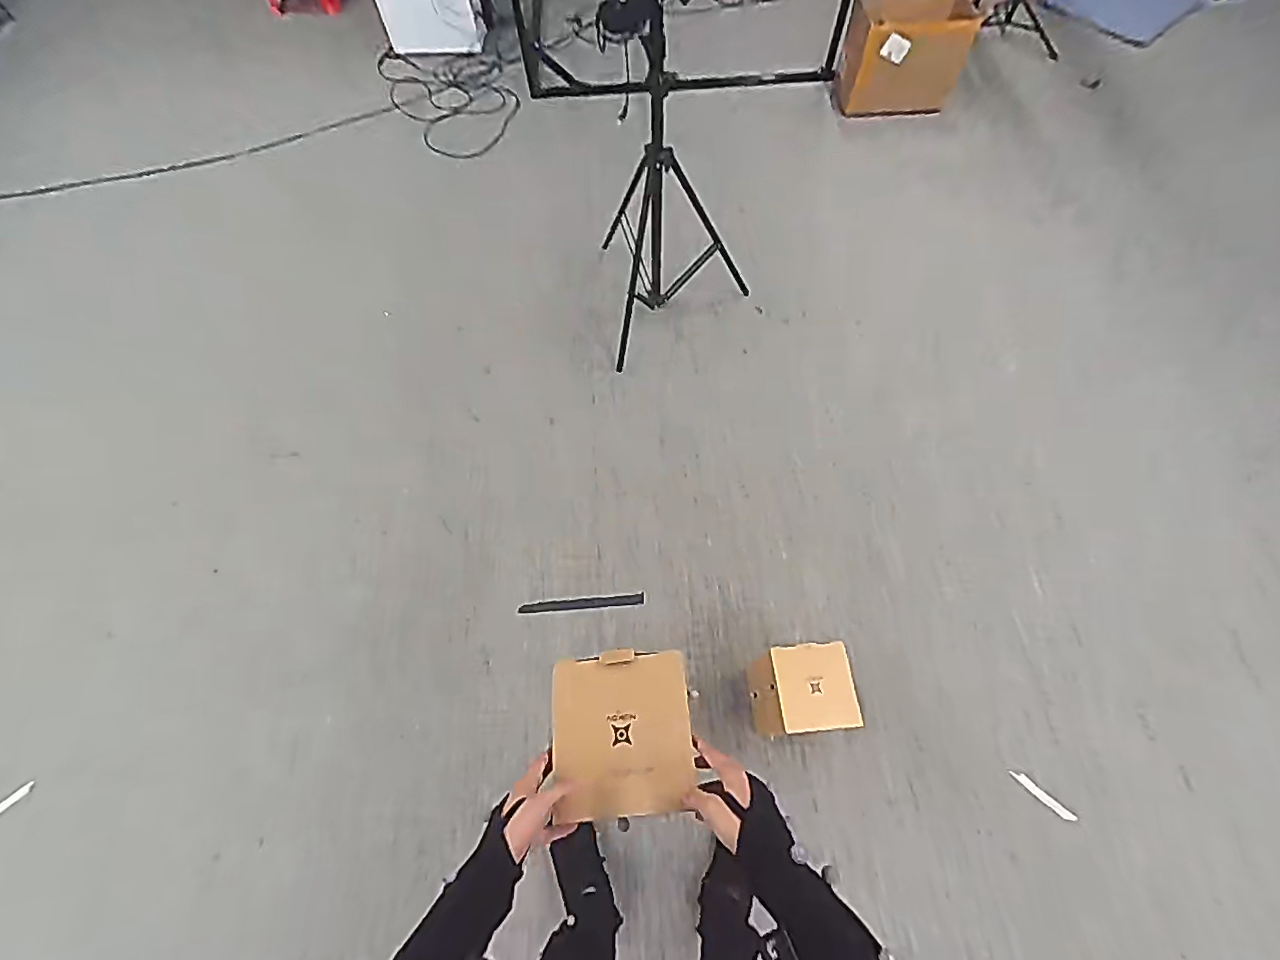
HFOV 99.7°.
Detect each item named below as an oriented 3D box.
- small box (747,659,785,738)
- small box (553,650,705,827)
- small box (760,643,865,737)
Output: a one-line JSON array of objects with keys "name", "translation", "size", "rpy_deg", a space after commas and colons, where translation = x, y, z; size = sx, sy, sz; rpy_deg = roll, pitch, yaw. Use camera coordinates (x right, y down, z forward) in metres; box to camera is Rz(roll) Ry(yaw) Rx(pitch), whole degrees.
[{"name": "small box", "translation": [0.374, 0.544, 1.357], "size": [0.168, 0.176, 0.179], "rpy_deg": [-6, 64, -2]}, {"name": "small box", "translation": [-0.012, 0.330, 0.686], "size": [0.168, 0.176, 0.179], "rpy_deg": [-6, 60, 2]}, {"name": "small box", "translation": [0.375, 0.473, 1.210], "size": [0.168, 0.176, 0.179], "rpy_deg": [-5, 64, -2]}]
